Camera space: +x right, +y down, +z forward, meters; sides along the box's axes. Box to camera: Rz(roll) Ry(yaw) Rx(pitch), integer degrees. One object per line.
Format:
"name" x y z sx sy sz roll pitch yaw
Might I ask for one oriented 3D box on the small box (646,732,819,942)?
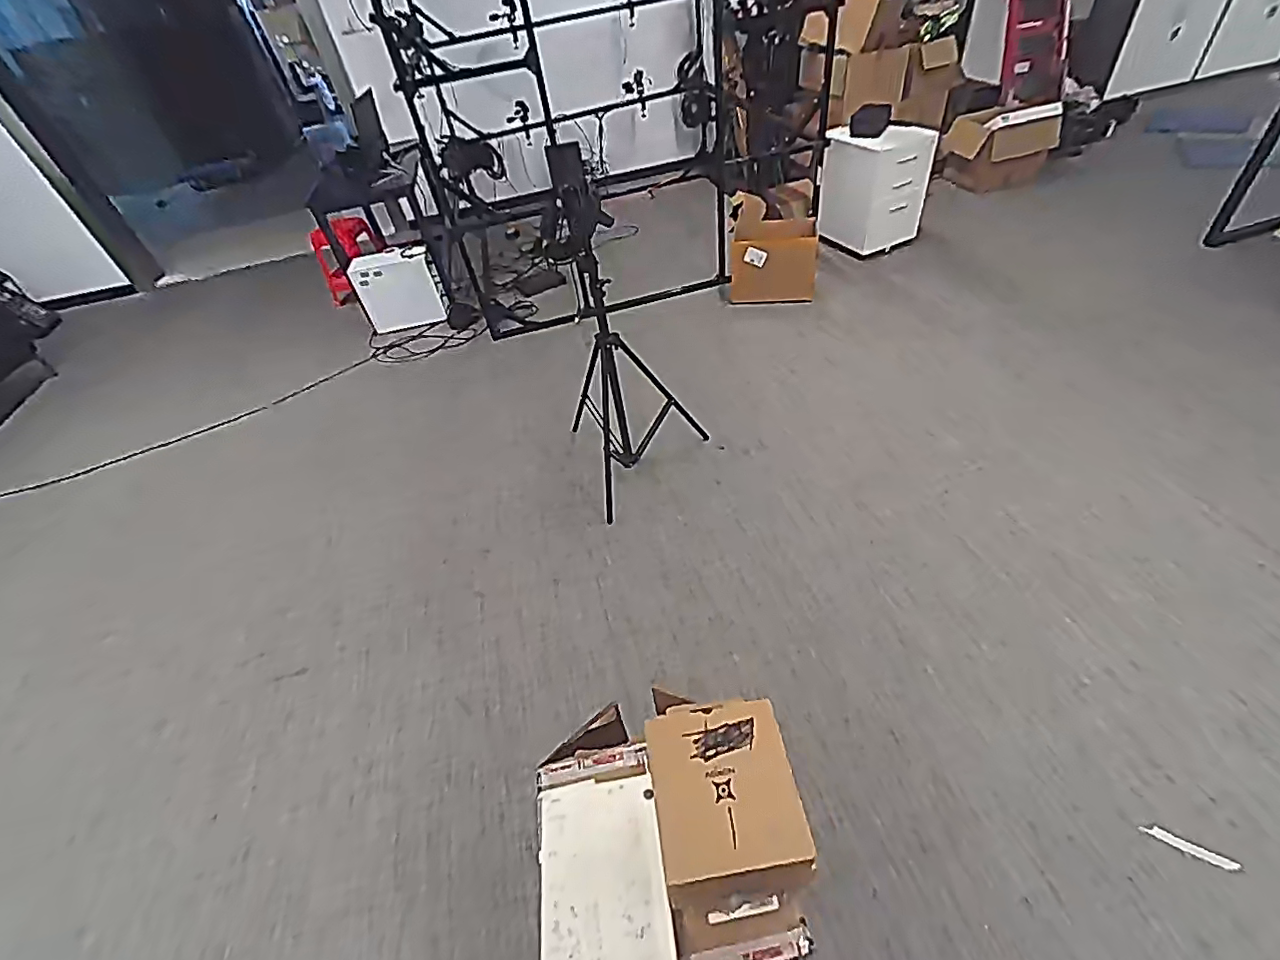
"small box" 0.101 0.443 0.673 0.168 0.176 0.179 -9 46 -2
